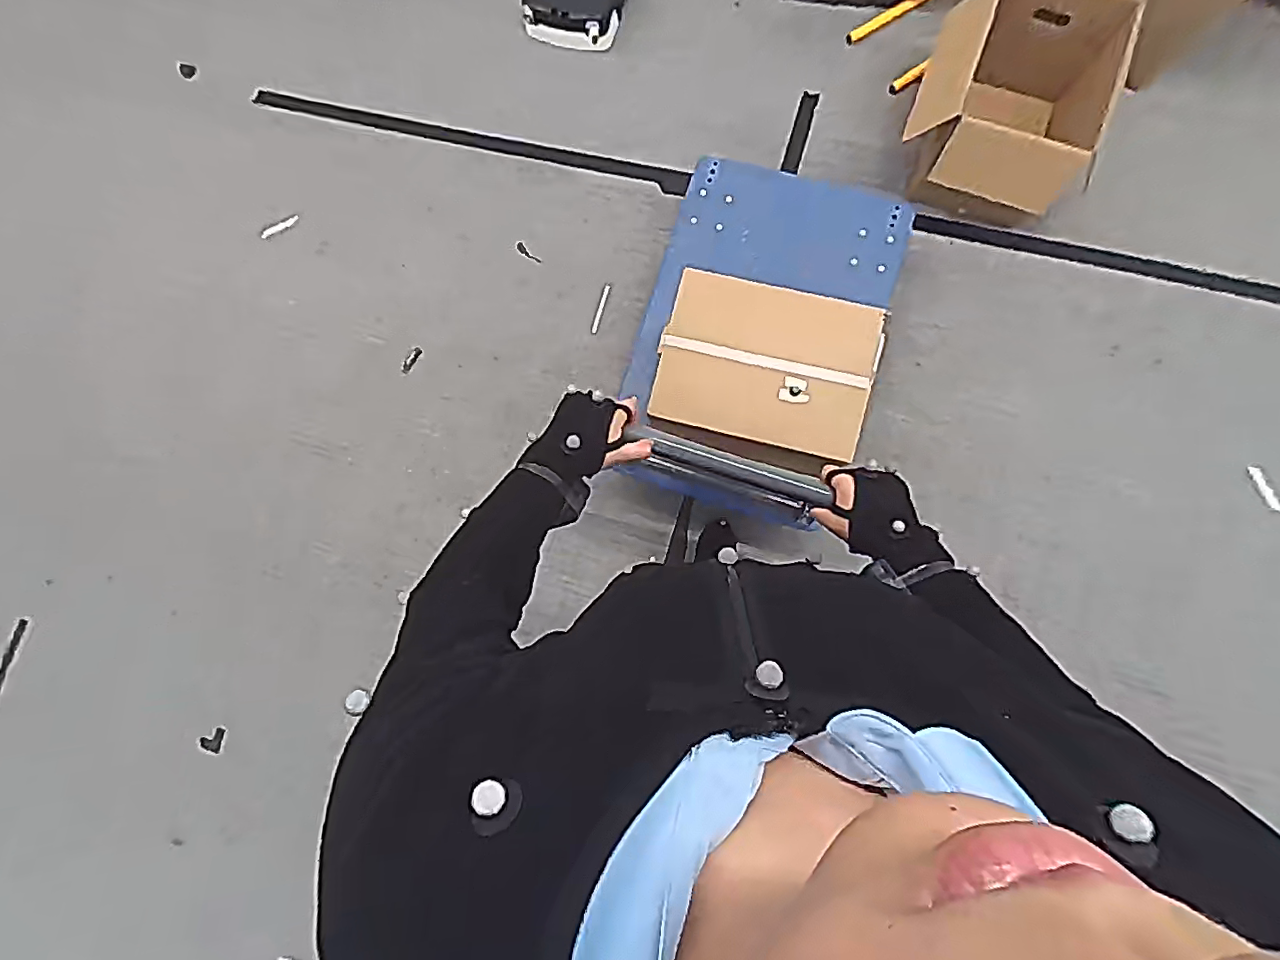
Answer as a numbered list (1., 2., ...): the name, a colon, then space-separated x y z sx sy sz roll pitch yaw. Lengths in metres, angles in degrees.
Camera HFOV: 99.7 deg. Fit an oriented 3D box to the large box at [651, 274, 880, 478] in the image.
1. large box: 0.254 -0.212 1.212 0.408 0.320 0.320 14 85 5
